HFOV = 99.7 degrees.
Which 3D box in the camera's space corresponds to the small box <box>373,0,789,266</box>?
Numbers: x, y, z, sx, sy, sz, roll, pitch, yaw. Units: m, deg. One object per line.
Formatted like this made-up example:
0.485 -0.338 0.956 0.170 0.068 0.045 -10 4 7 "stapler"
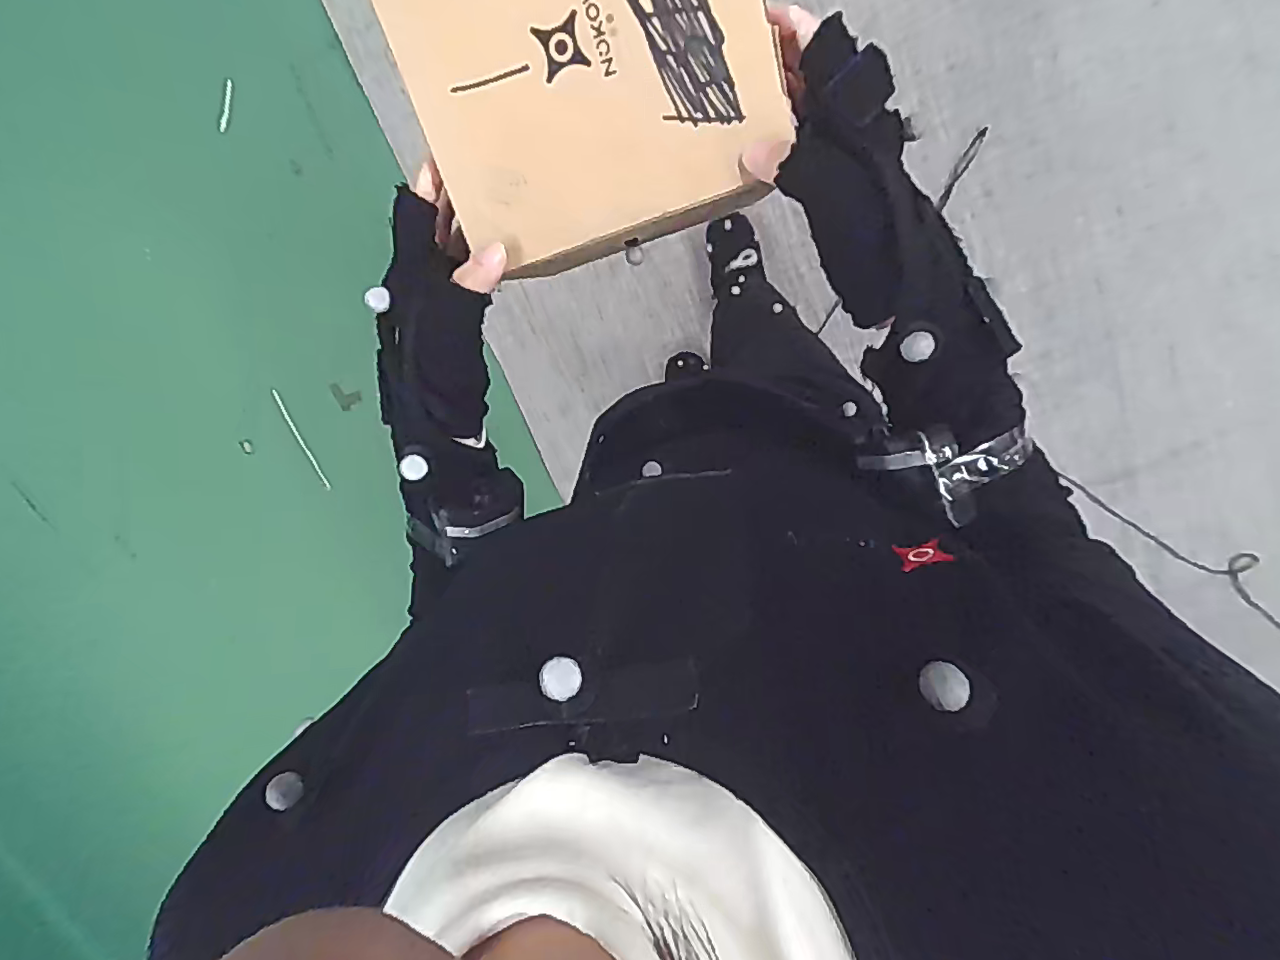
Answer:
-0.026 -0.242 0.327 0.179 0.176 0.168 -15 110 11 "small box"
